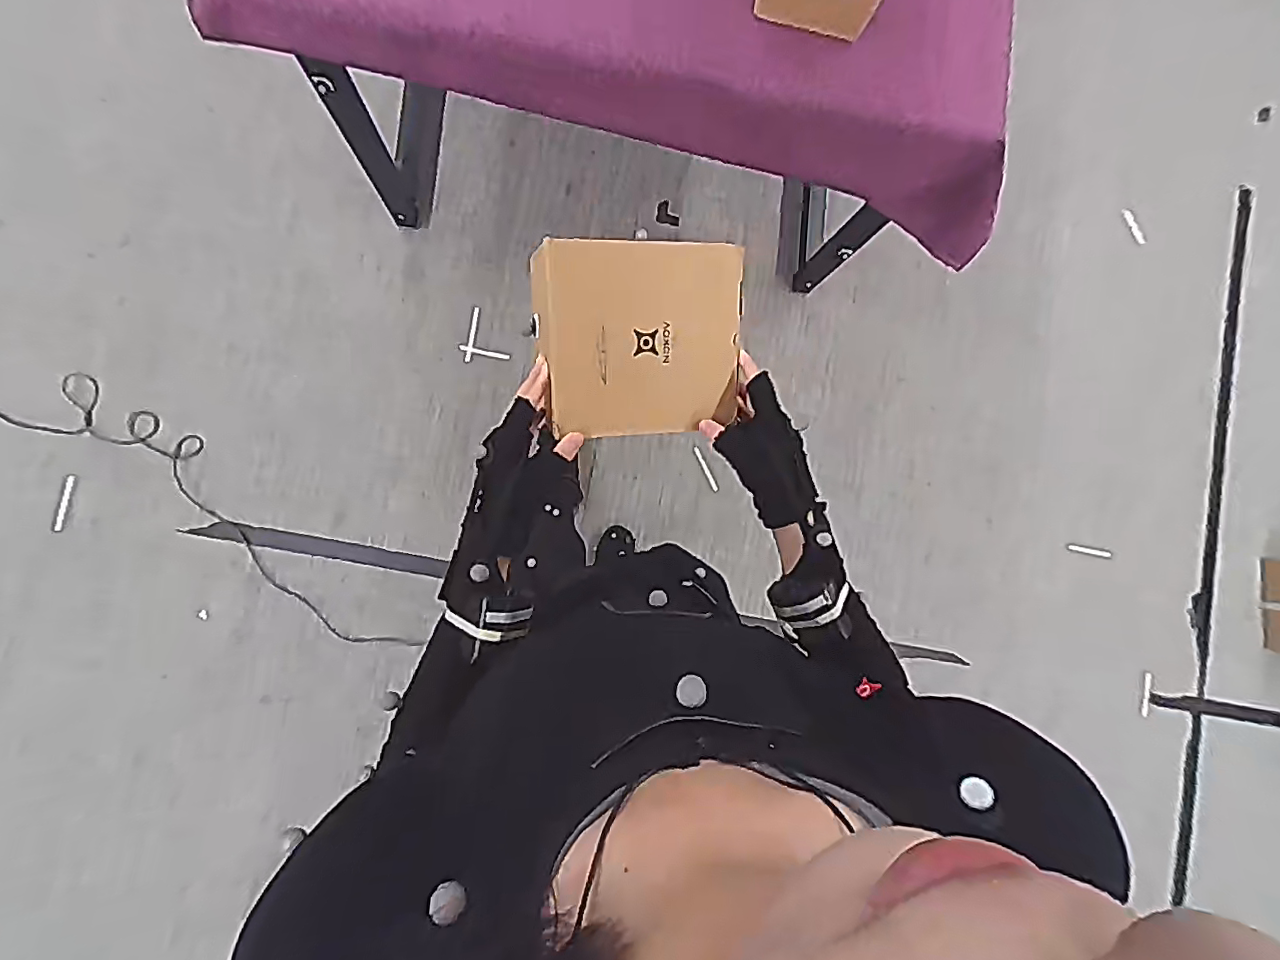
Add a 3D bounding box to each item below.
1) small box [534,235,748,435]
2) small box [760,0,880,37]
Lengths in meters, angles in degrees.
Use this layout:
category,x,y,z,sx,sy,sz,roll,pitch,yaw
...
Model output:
category,x,y,z,sx,sy,sz,roll,pitch,yaw
small box,-0.007,-0.145,0.548,0.179,0.176,0.168,-6,105,-13
small box,0.289,-0.804,0.793,0.179,0.176,0.168,7,86,-6
